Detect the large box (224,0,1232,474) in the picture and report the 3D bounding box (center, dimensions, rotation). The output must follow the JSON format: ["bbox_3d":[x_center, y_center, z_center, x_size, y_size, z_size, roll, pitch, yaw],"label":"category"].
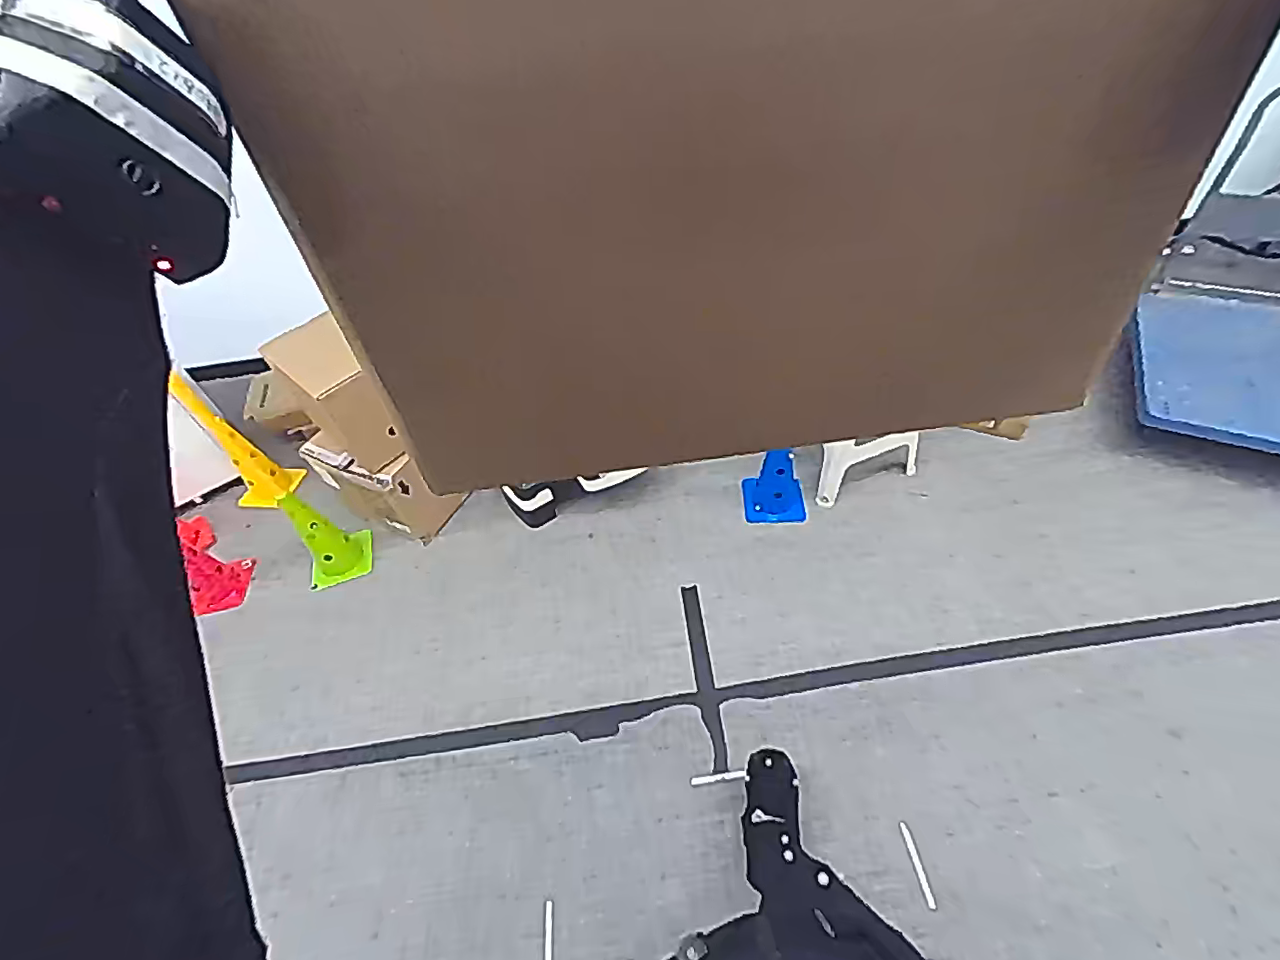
[{"bbox_3d":[0.038,-0.235,0.356,0.408,0.320,0.320,-8,42,0],"label":"large box"}]
